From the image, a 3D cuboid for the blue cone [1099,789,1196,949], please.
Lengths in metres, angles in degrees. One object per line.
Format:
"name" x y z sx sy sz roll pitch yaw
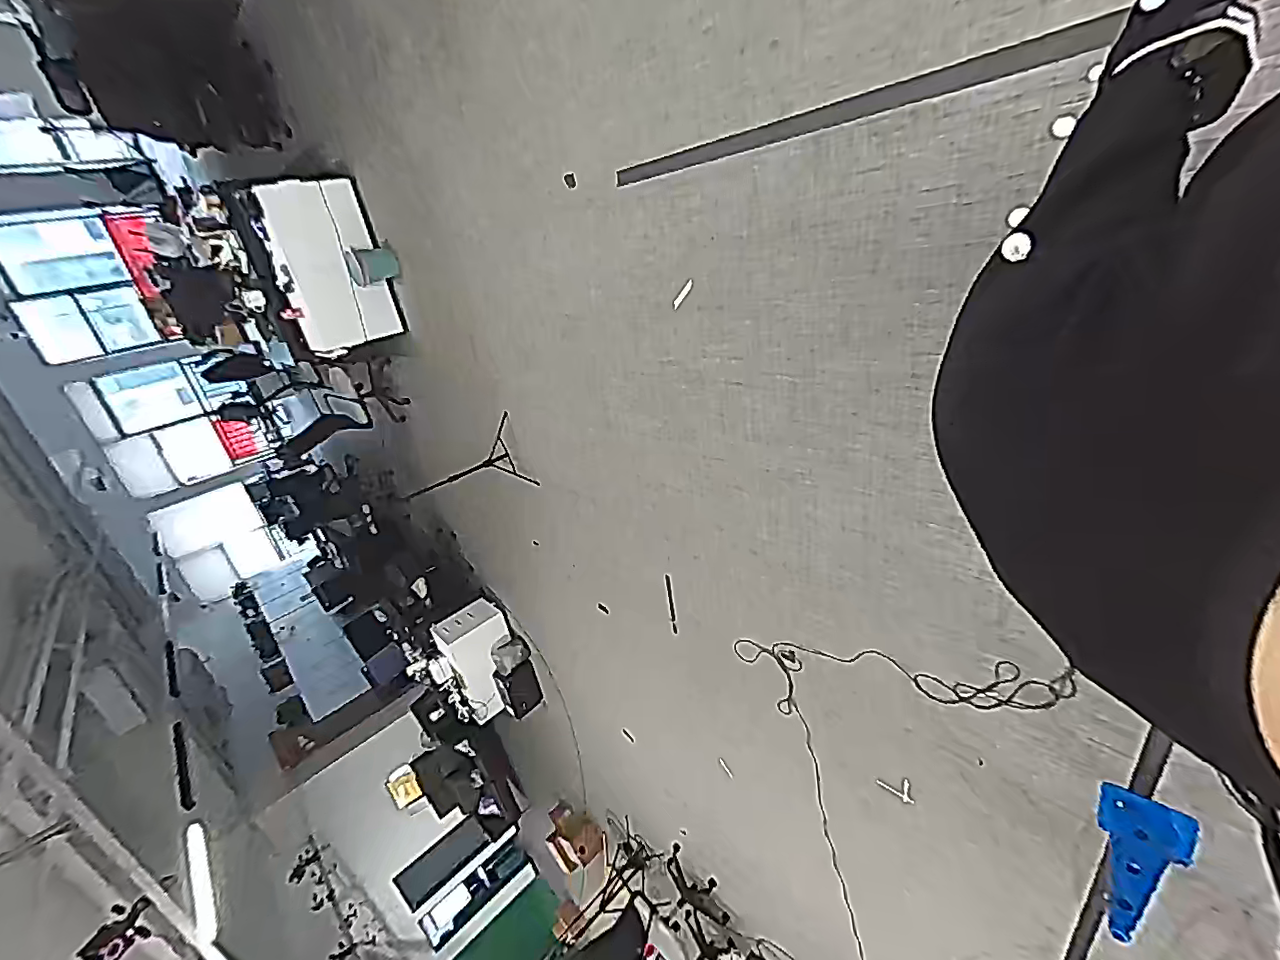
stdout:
"blue cone" 1.295 1.033 1.414 0.192 0.380 0.193 13 124 46
